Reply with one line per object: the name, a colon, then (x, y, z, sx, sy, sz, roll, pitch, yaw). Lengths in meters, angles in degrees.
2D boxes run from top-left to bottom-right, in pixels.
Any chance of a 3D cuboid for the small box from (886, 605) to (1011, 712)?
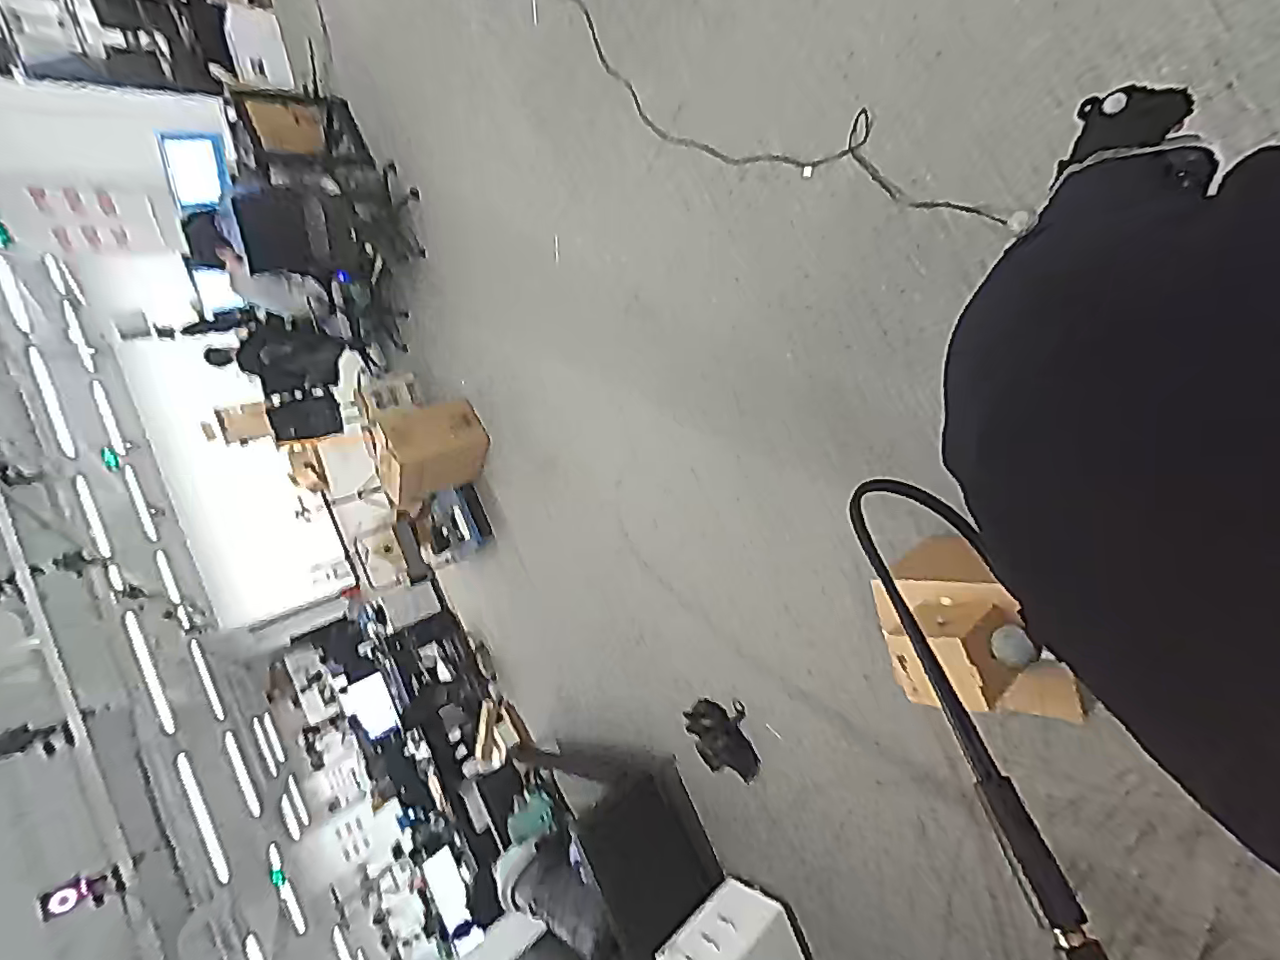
small box: (0.691, 0.386, 1.202, 0.179, 0.176, 0.168, -20, 90, 54)
